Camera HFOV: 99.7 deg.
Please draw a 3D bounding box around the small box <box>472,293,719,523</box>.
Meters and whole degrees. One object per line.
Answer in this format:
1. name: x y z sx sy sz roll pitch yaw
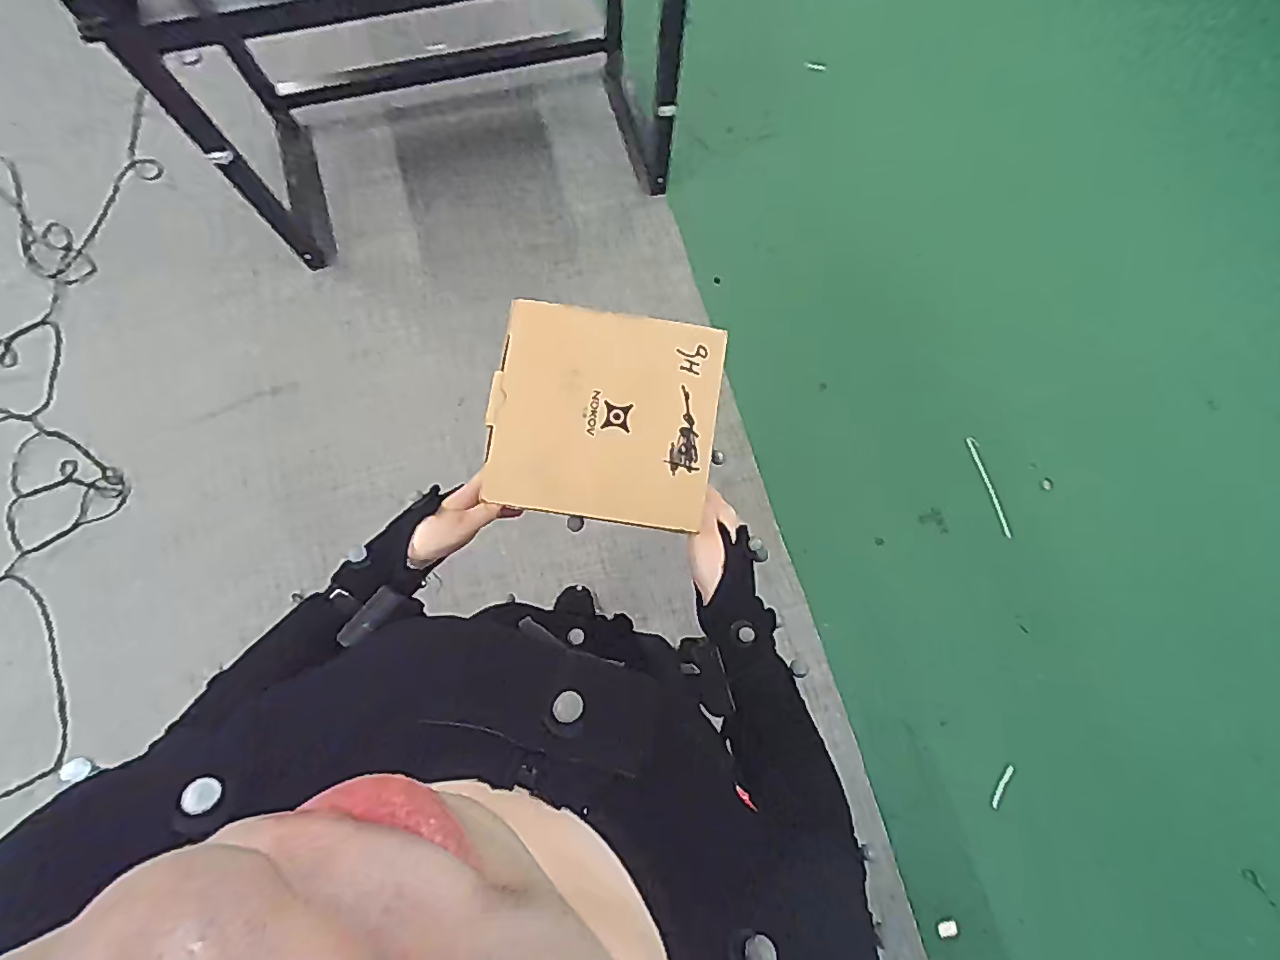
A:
1. small box: -0.035 -0.051 0.505 0.179 0.176 0.168 8 85 -1
